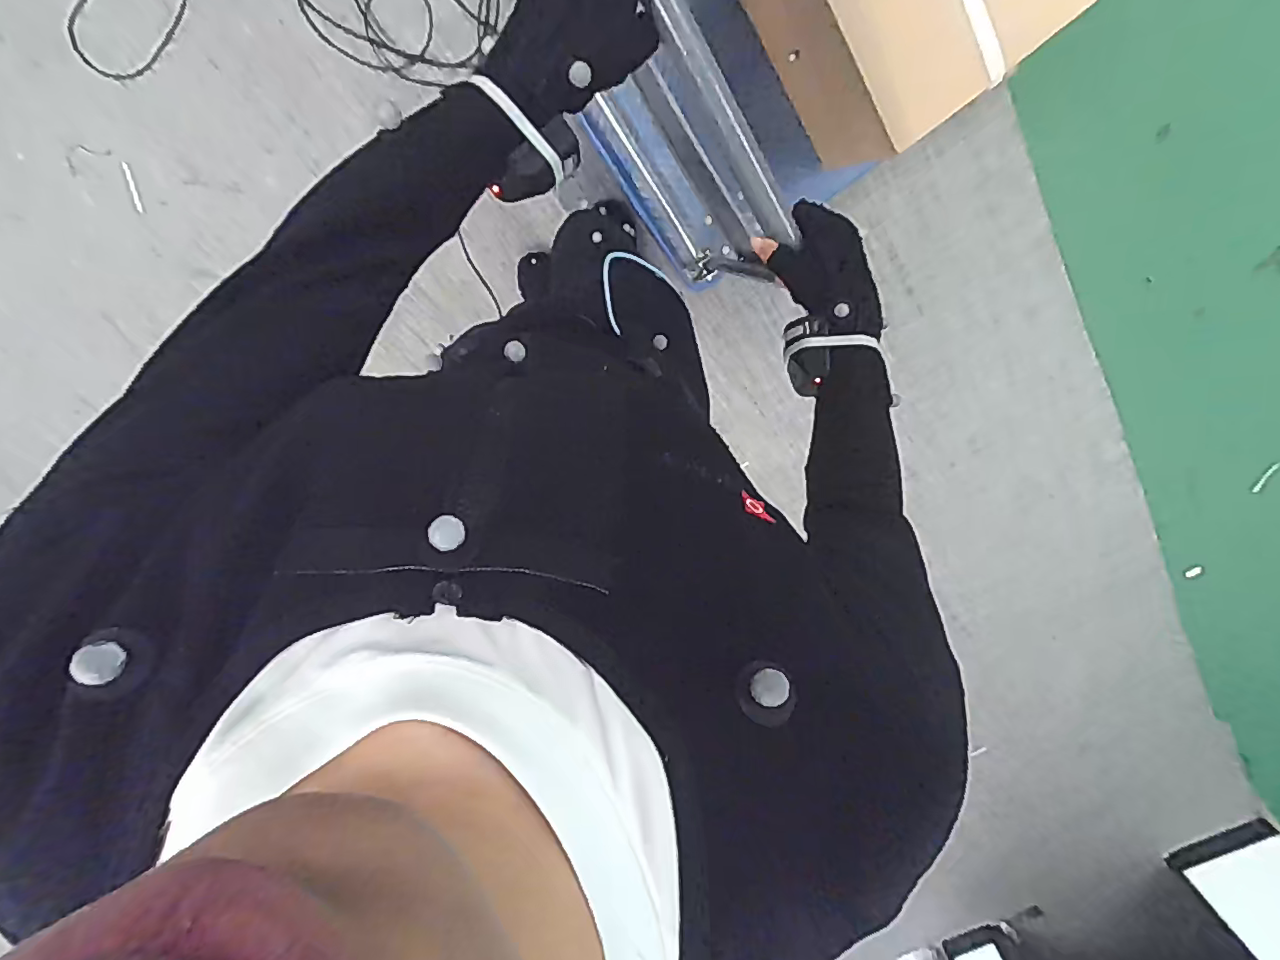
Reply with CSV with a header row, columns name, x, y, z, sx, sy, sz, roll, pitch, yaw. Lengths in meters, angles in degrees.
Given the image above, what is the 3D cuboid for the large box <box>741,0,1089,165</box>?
name,x,y,z,sx,sy,sz,roll,pitch,yaw
large box,0.384,-0.784,0.843,0.320,0.320,0.408,-36,113,13
